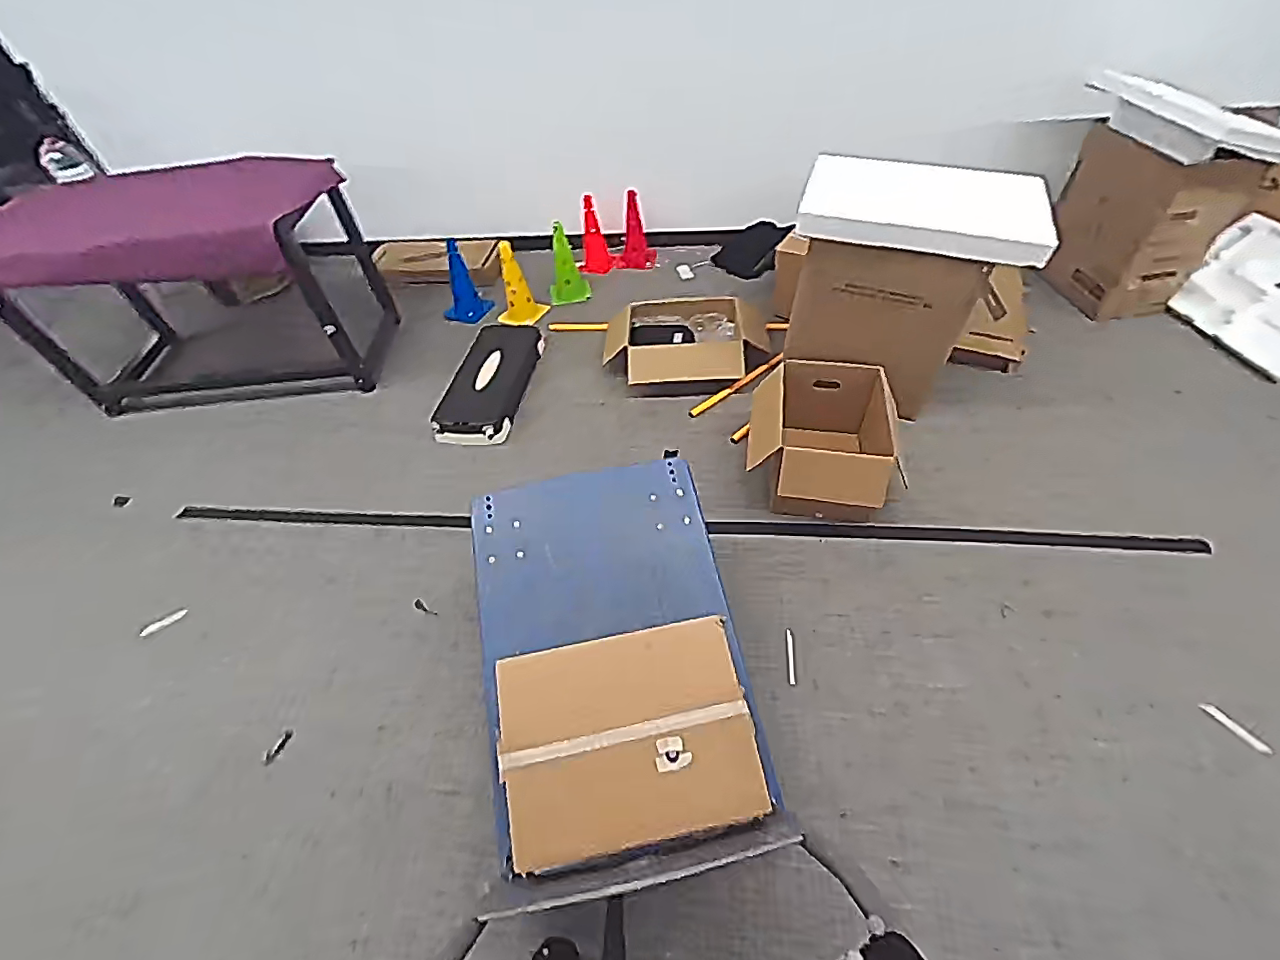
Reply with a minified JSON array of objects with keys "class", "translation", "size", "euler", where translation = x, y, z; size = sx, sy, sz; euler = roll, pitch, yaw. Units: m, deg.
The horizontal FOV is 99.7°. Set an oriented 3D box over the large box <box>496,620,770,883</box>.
[{"class":"large box","translation":[-0.024,0.486,1.013],"size":[0.408,0.320,0.320],"euler":[-11,66,-6]}]
